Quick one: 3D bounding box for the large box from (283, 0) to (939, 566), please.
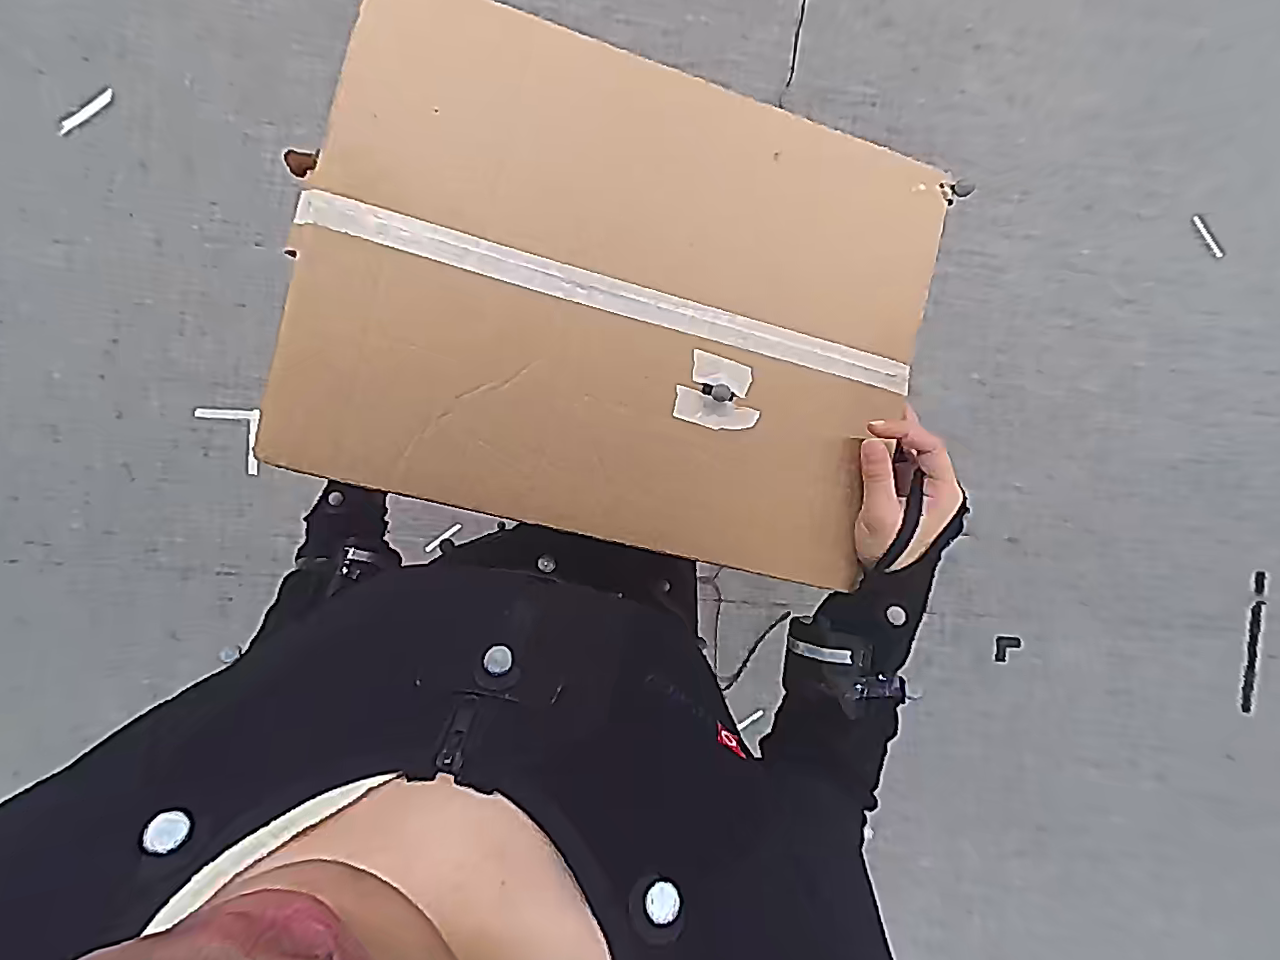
[{"bbox_3d":[-0.025,-0.129,0.511,0.408,0.320,0.320,14,90,-11],"label":"large box"}]
